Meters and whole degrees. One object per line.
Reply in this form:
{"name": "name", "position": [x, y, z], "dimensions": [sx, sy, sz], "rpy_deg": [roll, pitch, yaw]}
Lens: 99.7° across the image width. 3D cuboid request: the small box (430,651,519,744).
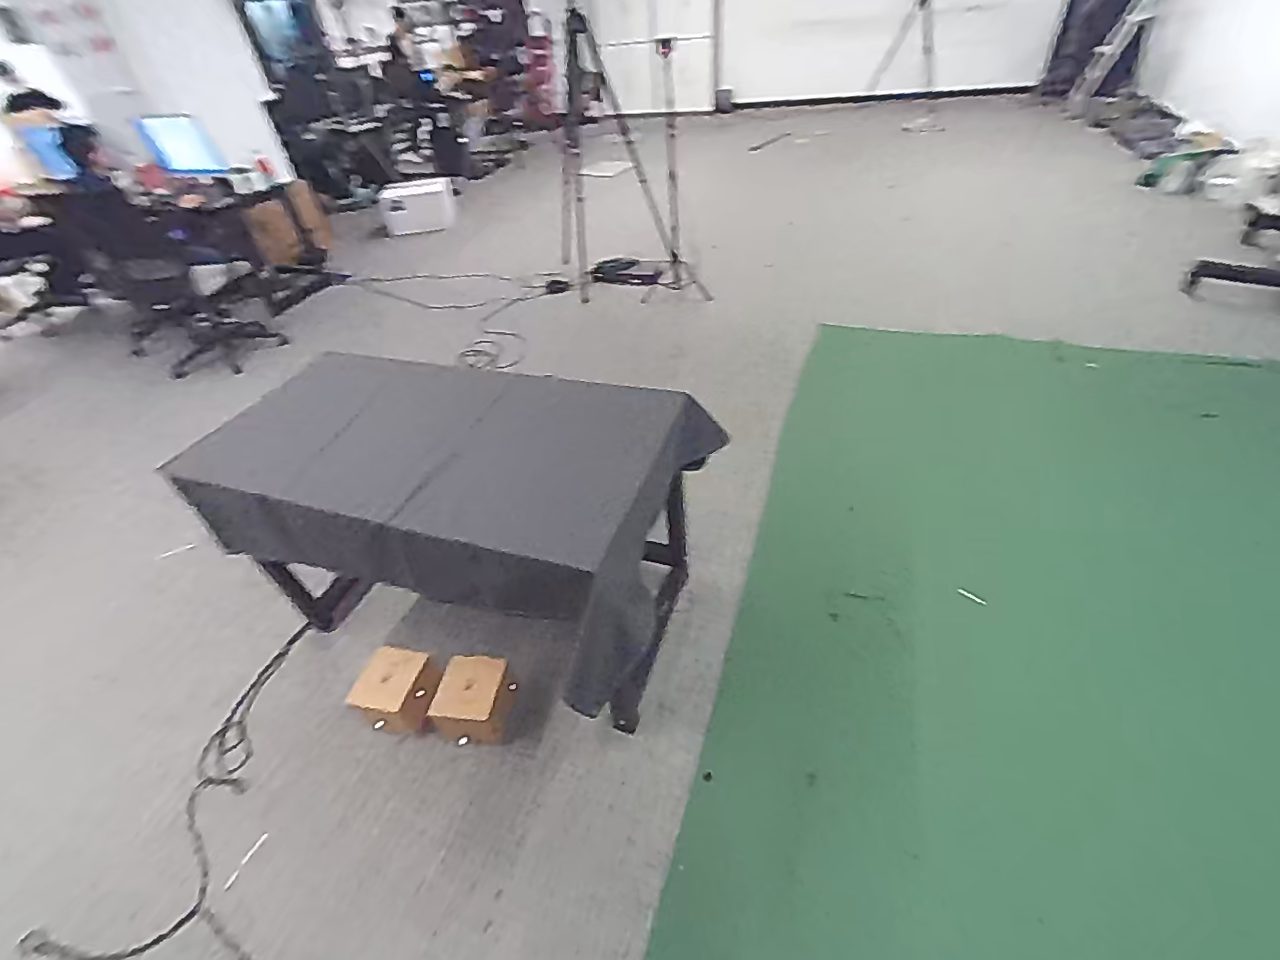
{"name": "small box", "position": [-0.450, 0.604, 1.506], "dimensions": [0.168, 0.176, 0.179], "rpy_deg": [2, 42, 10]}
